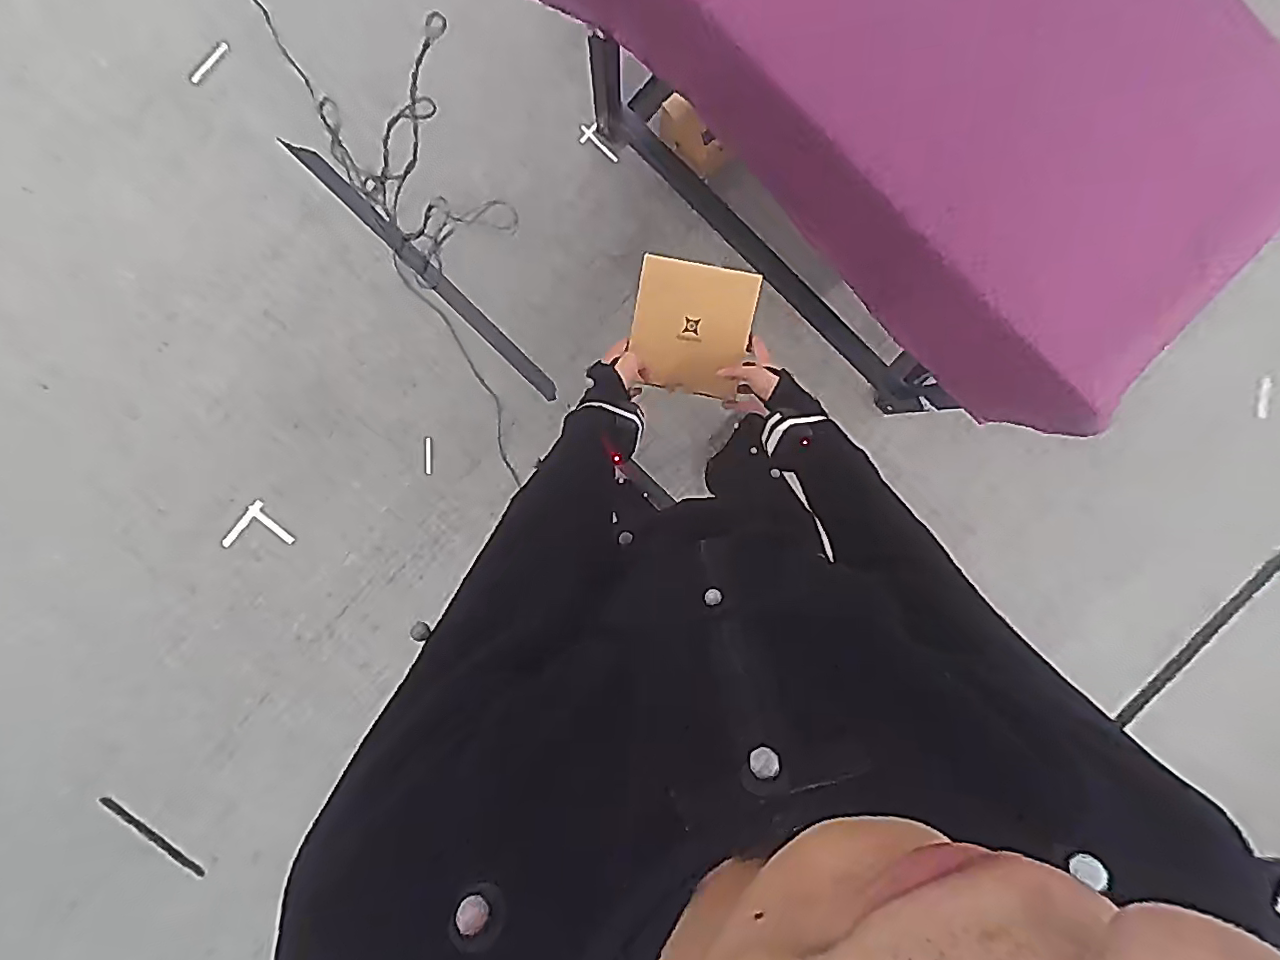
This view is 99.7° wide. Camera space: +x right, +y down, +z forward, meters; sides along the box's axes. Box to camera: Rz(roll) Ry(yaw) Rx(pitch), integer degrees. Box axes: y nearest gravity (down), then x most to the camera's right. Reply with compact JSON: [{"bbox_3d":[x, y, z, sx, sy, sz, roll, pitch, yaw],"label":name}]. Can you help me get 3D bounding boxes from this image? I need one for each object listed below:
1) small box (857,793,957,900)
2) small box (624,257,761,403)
[{"bbox_3d":[0.807,1.106,1.648,0.179,0.176,0.168,40,93,-3],"label":"small box"},{"bbox_3d":[0.076,-0.227,0.836,0.168,0.176,0.179,11,105,1],"label":"small box"}]
